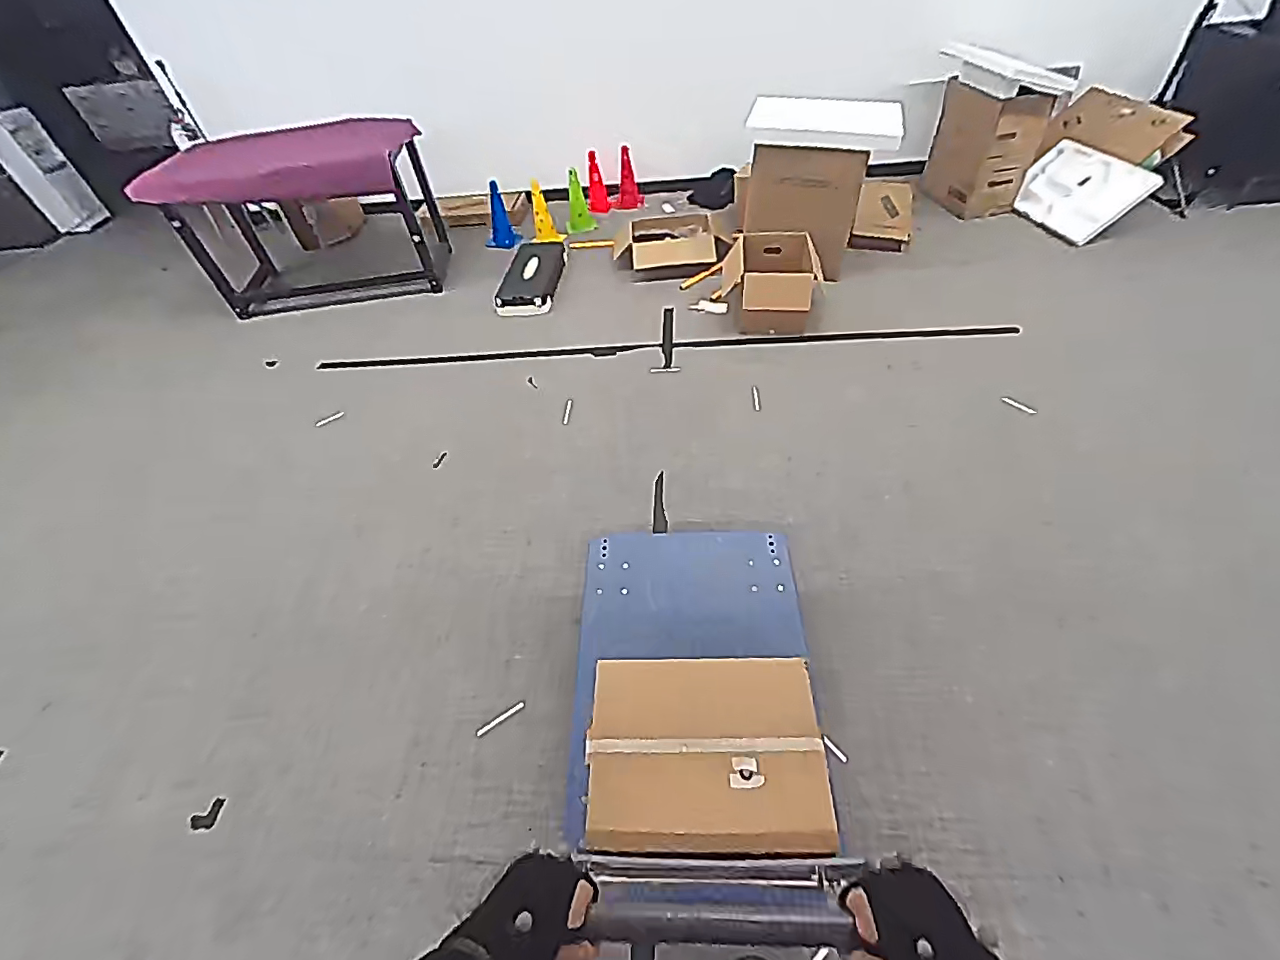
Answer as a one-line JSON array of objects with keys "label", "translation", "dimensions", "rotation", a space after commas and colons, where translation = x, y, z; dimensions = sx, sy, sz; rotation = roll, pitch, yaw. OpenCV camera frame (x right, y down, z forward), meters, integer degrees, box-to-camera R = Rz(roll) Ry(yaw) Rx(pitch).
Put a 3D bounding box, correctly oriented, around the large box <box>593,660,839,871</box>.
[{"label": "large box", "translation": [0.127, 0.572, 1.074], "dimensions": [0.408, 0.320, 0.320], "rotation": [-2, 51, 3]}]
